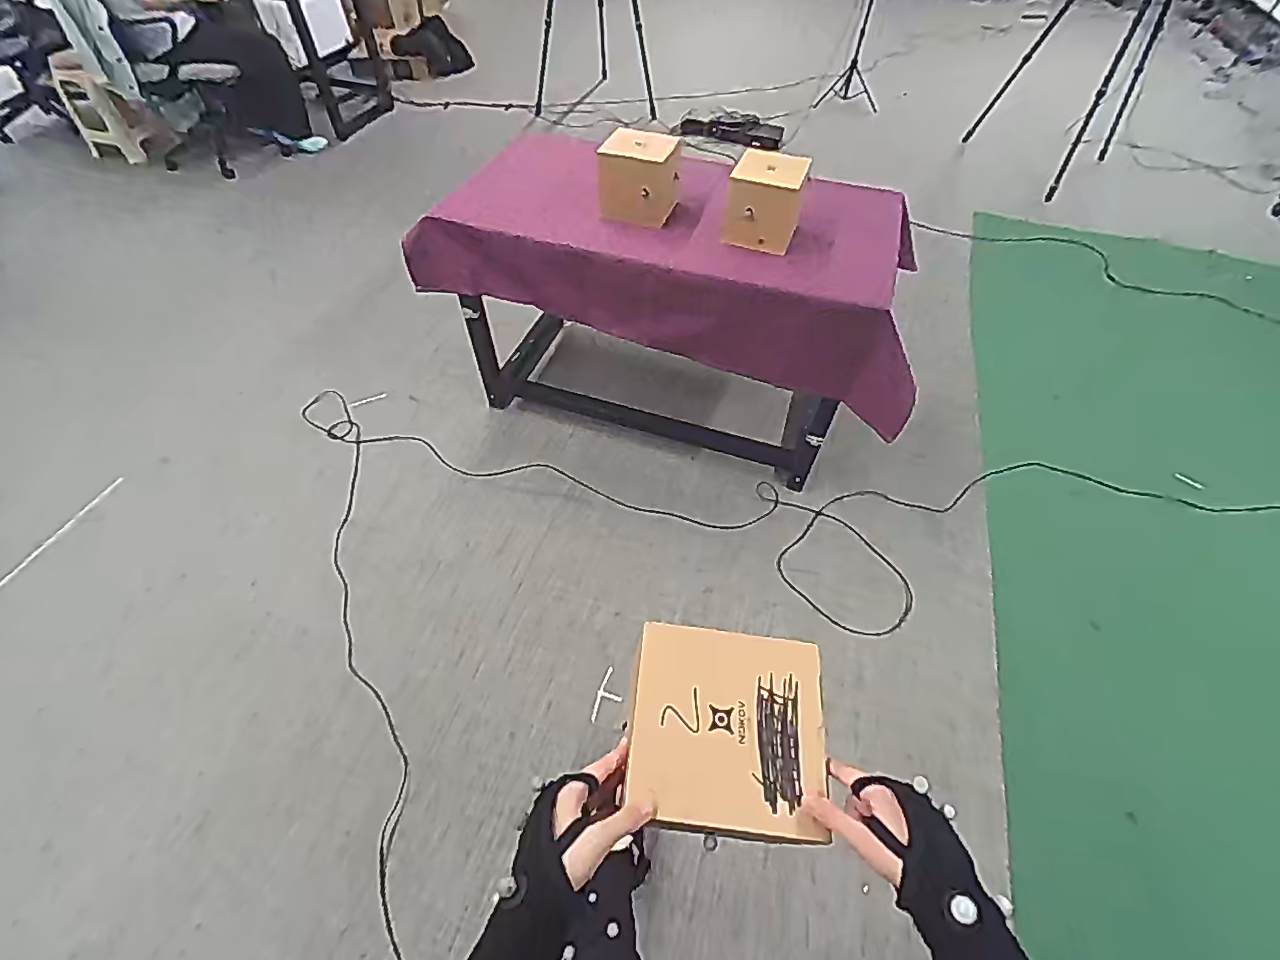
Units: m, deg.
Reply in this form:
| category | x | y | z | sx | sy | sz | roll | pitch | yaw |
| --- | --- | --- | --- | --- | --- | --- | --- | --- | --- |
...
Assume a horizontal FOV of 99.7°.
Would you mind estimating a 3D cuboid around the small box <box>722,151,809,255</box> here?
| category | x | y | z | sx | sy | sz | roll | pitch | yaw |
| --- | --- | --- | --- | --- | --- | --- | --- | --- | --- |
| small box | 0.310 | -0.696 | 1.364 | 0.168 | 0.176 | 0.179 | 17 | 53 | 12 |

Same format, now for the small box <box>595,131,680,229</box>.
| category | x | y | z | sx | sy | sz | roll | pitch | yaw |
| --- | --- | --- | --- | --- | --- | --- | --- | --- | --- |
| small box | -0.004 | -0.789 | 1.429 | 0.179 | 0.176 | 0.168 | 16 | 53 | 11 |
